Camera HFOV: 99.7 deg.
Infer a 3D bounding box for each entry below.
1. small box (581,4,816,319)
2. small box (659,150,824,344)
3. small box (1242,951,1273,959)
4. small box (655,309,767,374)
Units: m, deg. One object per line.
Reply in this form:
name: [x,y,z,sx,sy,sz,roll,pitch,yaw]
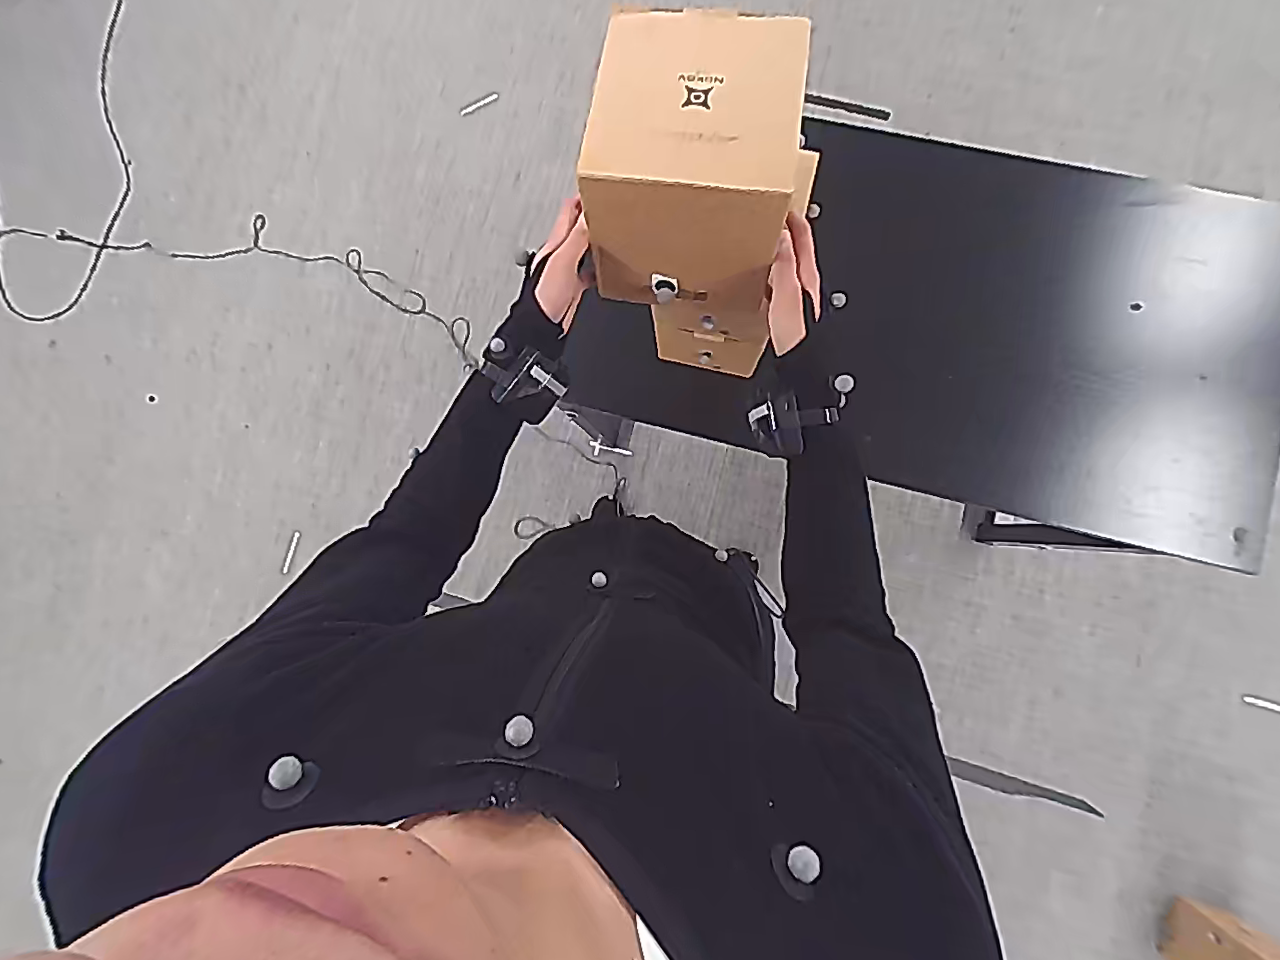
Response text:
small box: [0.051,-0.274,0.491,0.168,0.176,0.179,7,75,5]
small box: [0.115,-0.296,0.689,0.168,0.176,0.179,14,86,6]
small box: [1.459,1.194,1.178,0.168,0.176,0.179,15,88,6]
small box: [0.128,-0.281,0.853,0.168,0.176,0.179,13,87,6]
